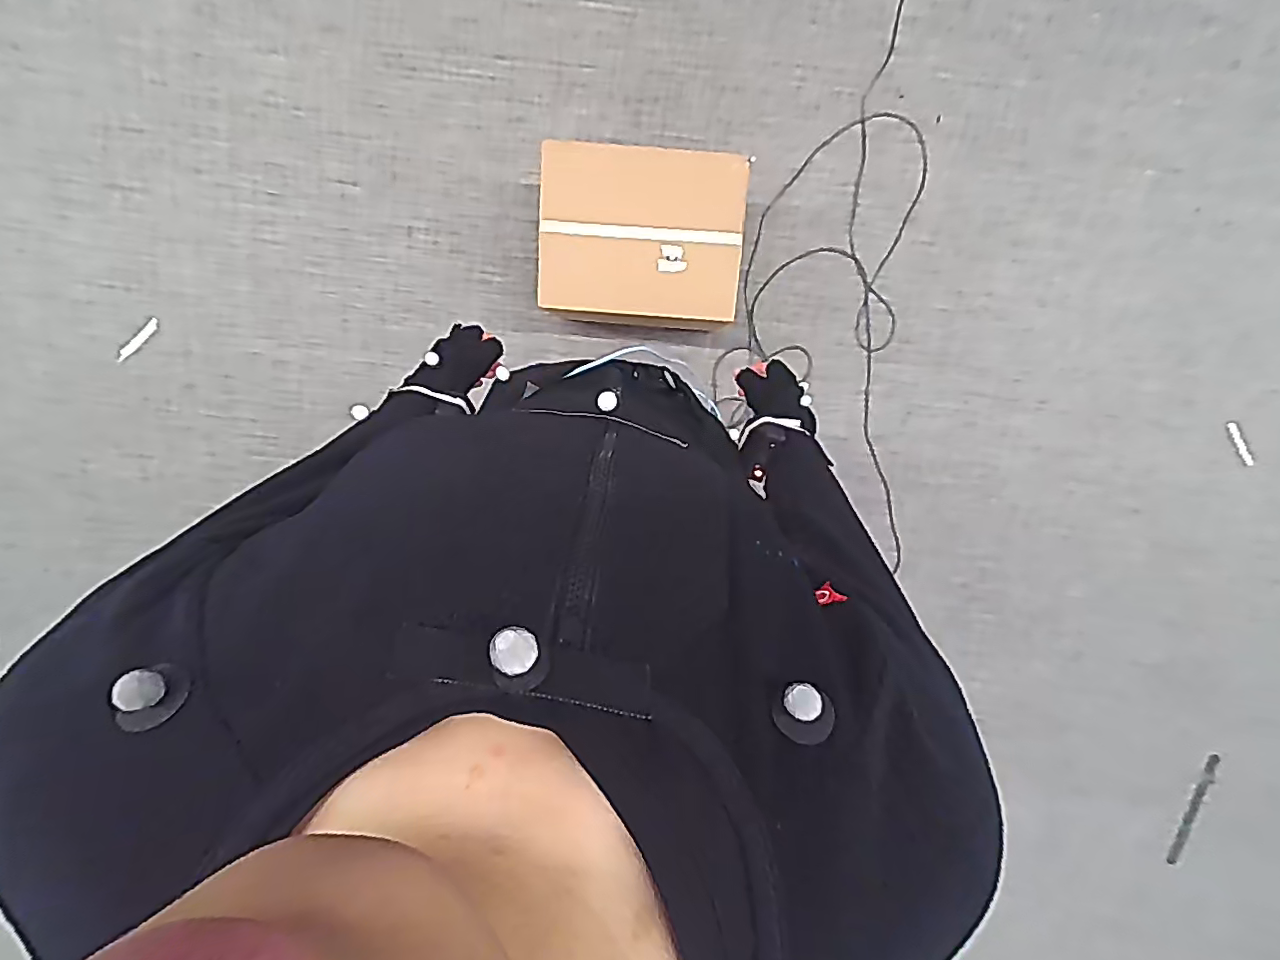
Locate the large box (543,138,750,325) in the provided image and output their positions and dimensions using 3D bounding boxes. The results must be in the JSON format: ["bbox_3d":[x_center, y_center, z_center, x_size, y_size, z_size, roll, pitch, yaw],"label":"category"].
[{"bbox_3d":[0.007,-0.531,1.221,0.408,0.320,0.320,4,103,-1],"label":"large box"}]
